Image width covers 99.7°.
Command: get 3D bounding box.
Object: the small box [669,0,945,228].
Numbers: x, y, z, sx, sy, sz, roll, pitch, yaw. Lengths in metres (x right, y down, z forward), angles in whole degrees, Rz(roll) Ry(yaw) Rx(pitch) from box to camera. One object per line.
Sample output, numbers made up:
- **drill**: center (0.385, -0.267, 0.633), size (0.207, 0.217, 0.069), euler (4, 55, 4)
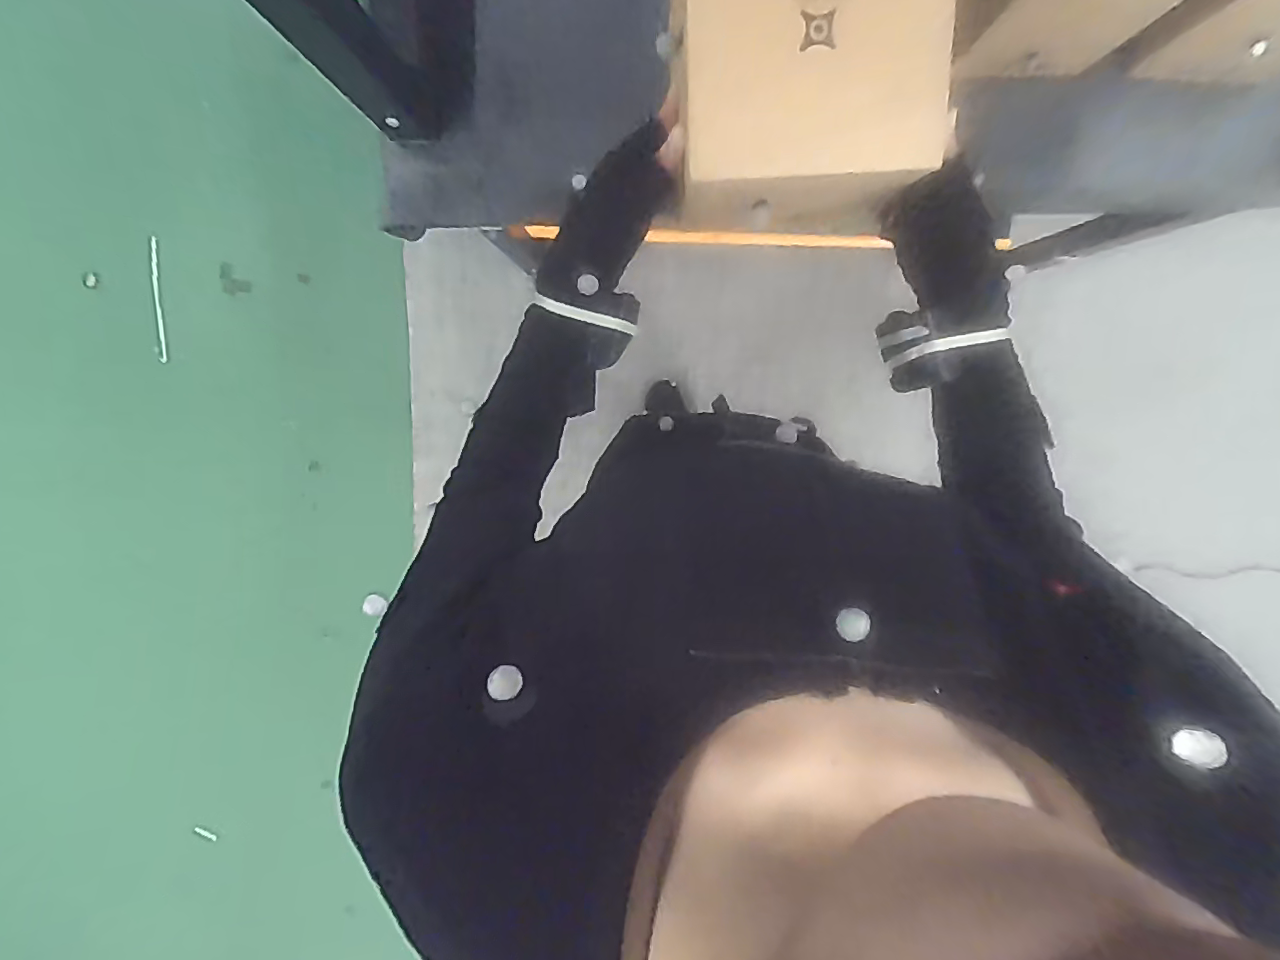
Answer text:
- **small box**: center (0.108, -0.301, 0.414), size (0.168, 0.176, 0.179), euler (-2, 102, 2)
